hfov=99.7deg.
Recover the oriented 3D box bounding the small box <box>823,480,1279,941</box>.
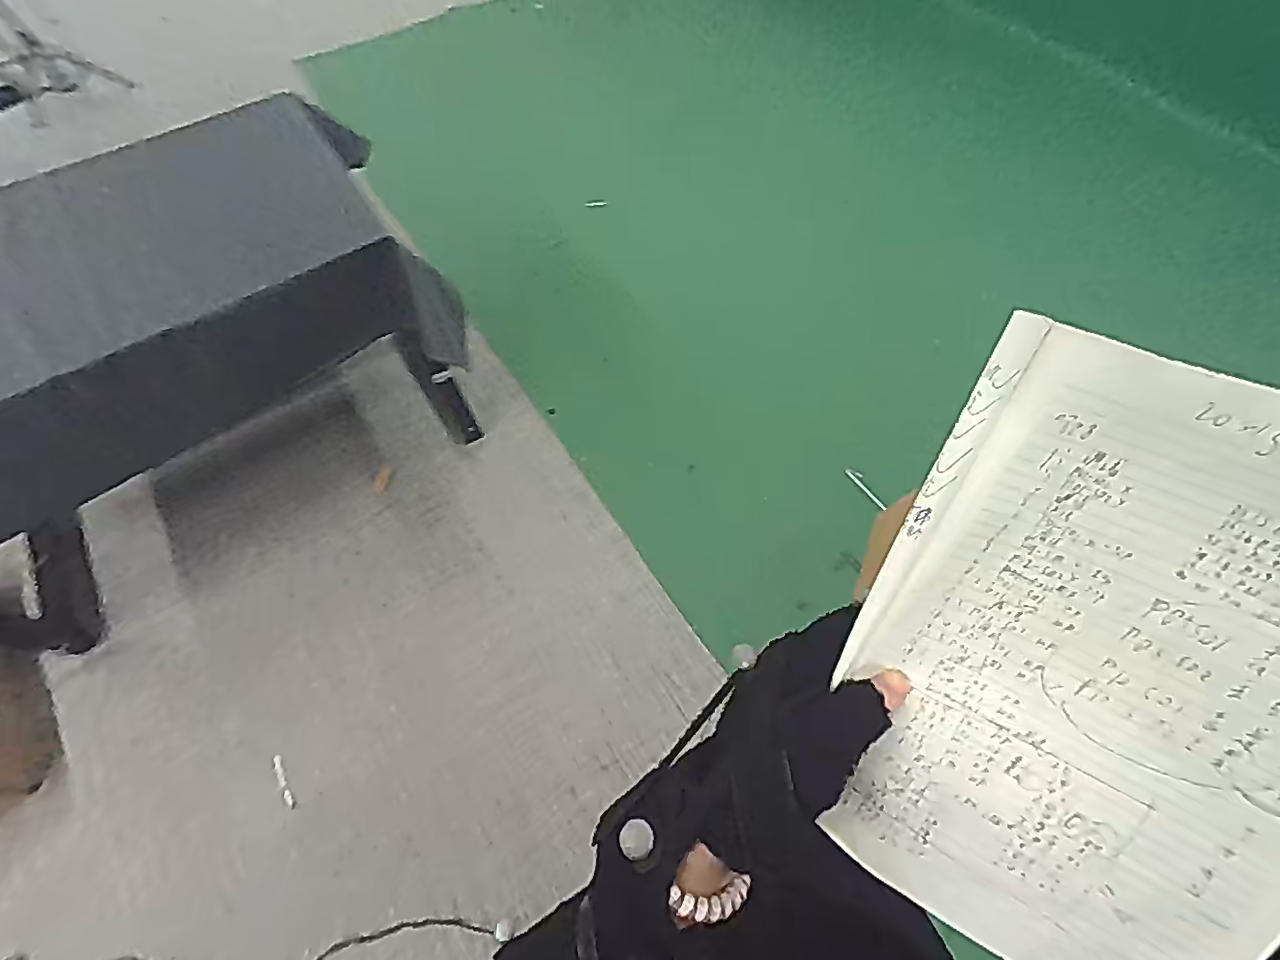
[{"bbox_3d":[0.225,0.118,0.348,0.168,0.176,0.179,17,84,16],"label":"small box"}]
